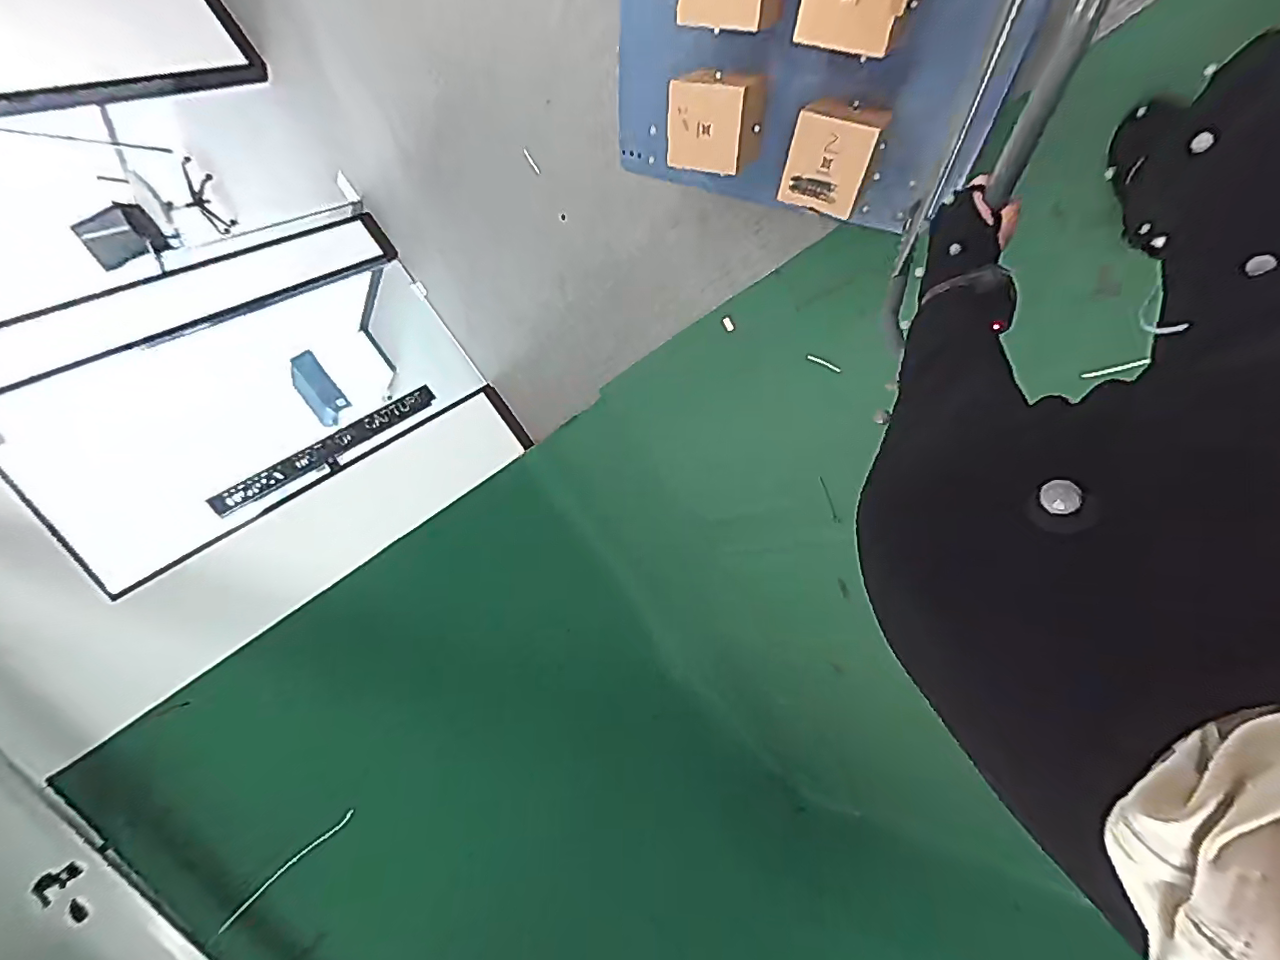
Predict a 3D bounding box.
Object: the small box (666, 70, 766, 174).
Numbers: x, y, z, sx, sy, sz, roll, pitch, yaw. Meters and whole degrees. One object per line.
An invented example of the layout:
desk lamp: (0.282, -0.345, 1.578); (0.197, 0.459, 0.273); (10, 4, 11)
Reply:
small box: (0.175, -0.828, 1.244); (0.179, 0.176, 0.168); (20, 138, 20)

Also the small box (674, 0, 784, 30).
small box: (0.184, -1.003, 1.058); (0.179, 0.176, 0.168); (21, 140, 18)

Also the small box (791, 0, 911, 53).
small box: (0.404, -0.907, 0.989); (0.179, 0.176, 0.168); (23, 140, 16)
